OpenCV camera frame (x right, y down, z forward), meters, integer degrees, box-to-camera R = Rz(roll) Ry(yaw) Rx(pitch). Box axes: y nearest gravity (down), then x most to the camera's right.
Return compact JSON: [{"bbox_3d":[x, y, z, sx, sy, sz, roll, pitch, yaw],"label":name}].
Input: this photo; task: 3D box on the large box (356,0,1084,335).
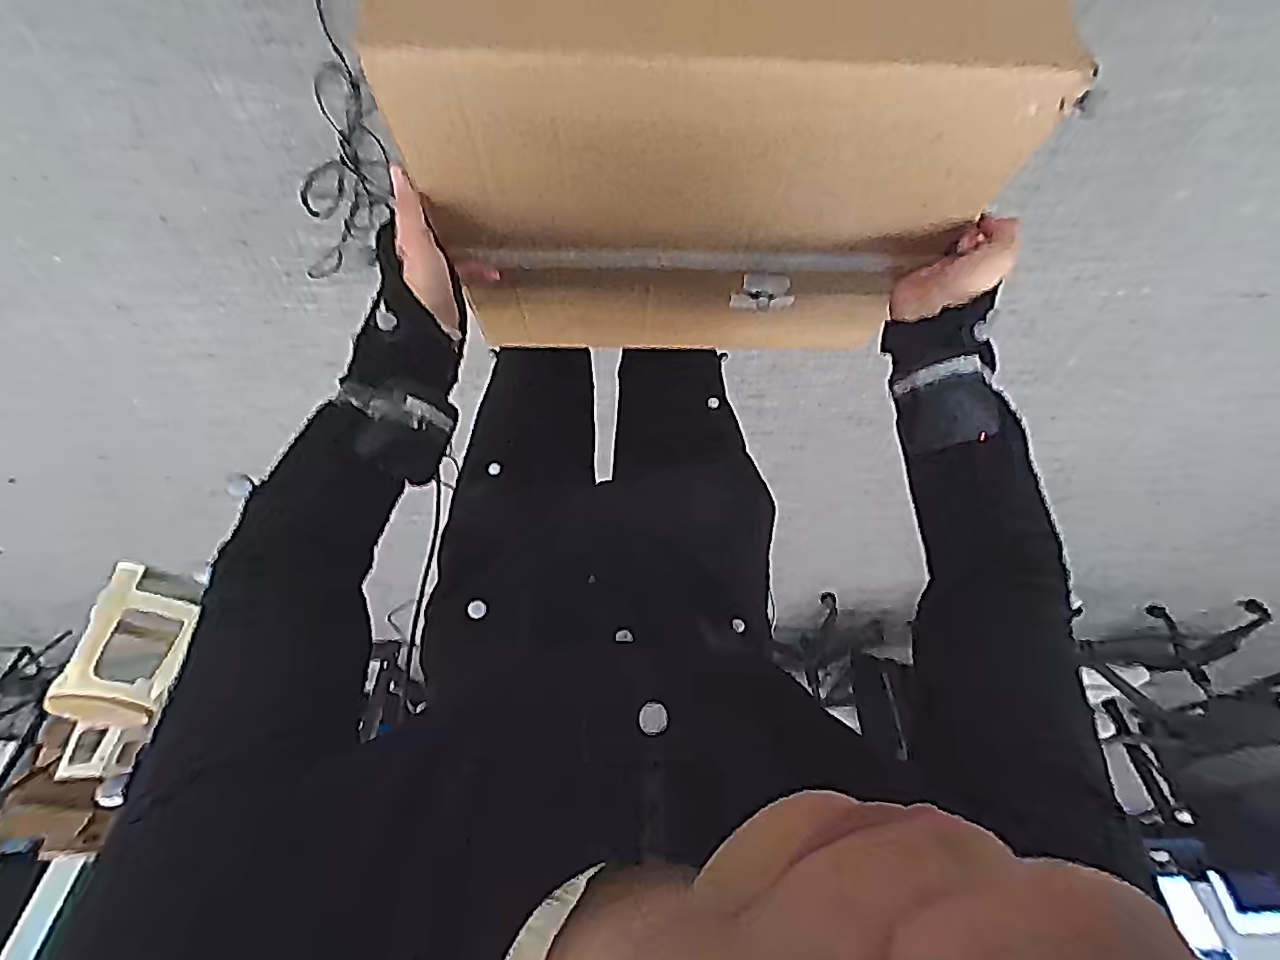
[{"bbox_3d":[0.036,-0.343,0.473,0.408,0.320,0.320,-1,165,-3],"label":"large box"}]
